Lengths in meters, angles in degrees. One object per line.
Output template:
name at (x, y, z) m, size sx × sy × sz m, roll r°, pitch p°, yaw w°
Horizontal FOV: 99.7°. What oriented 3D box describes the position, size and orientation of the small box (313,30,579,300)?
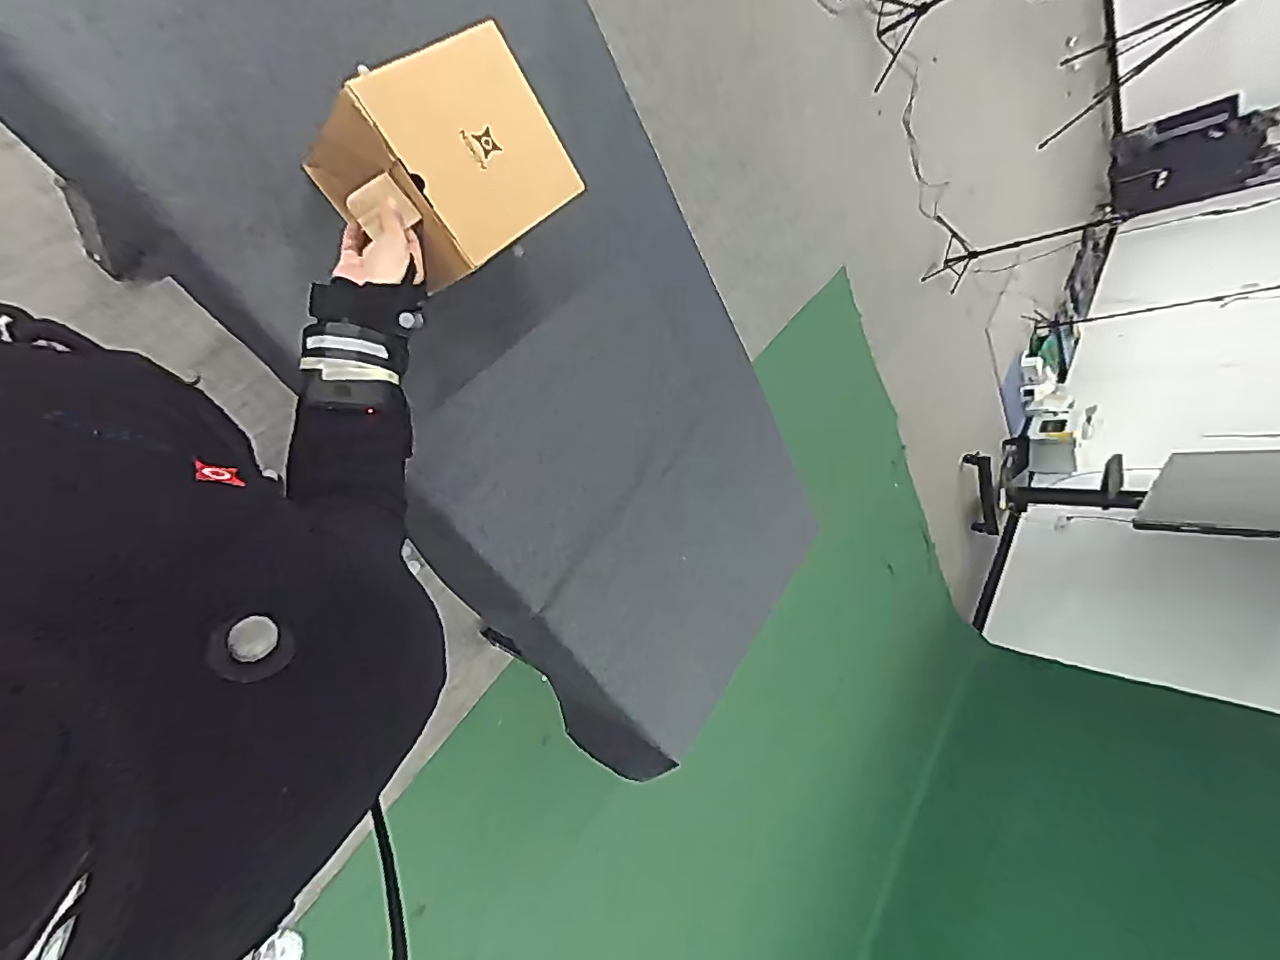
small box at (-0.205, -0.318, 0.574) m, size 0.179 × 0.176 × 0.168 m, roll -51°, pitch 123°, yaw -27°
